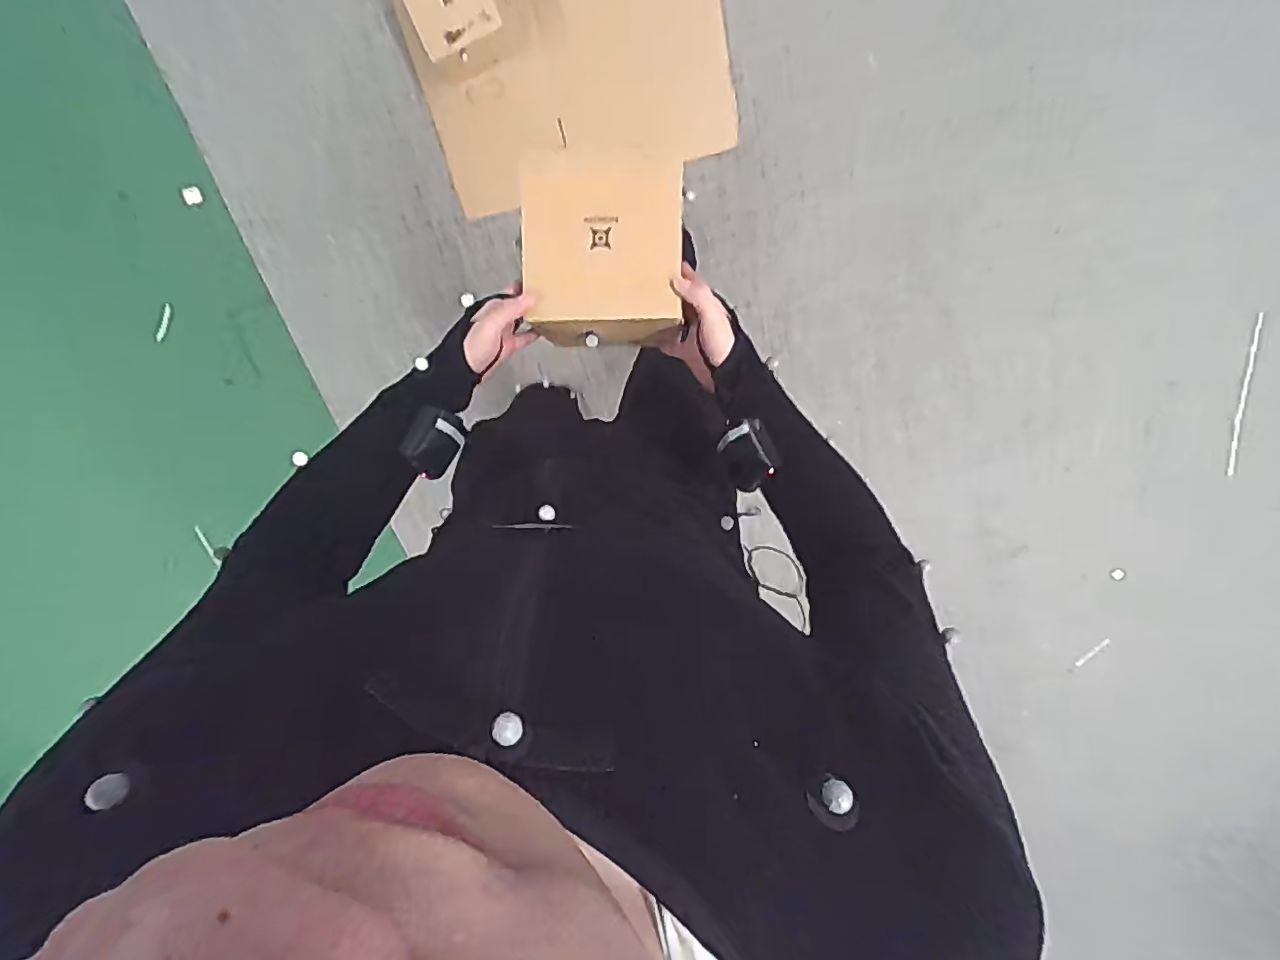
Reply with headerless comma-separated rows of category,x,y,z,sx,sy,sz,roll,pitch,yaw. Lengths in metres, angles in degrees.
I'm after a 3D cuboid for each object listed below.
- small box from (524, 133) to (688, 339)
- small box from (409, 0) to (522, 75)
small box,-0.029,-0.262,0.623,0.168,0.176,0.179,0,94,5
small box,-0.364,-0.975,1.101,0.168,0.176,0.179,-18,113,11
